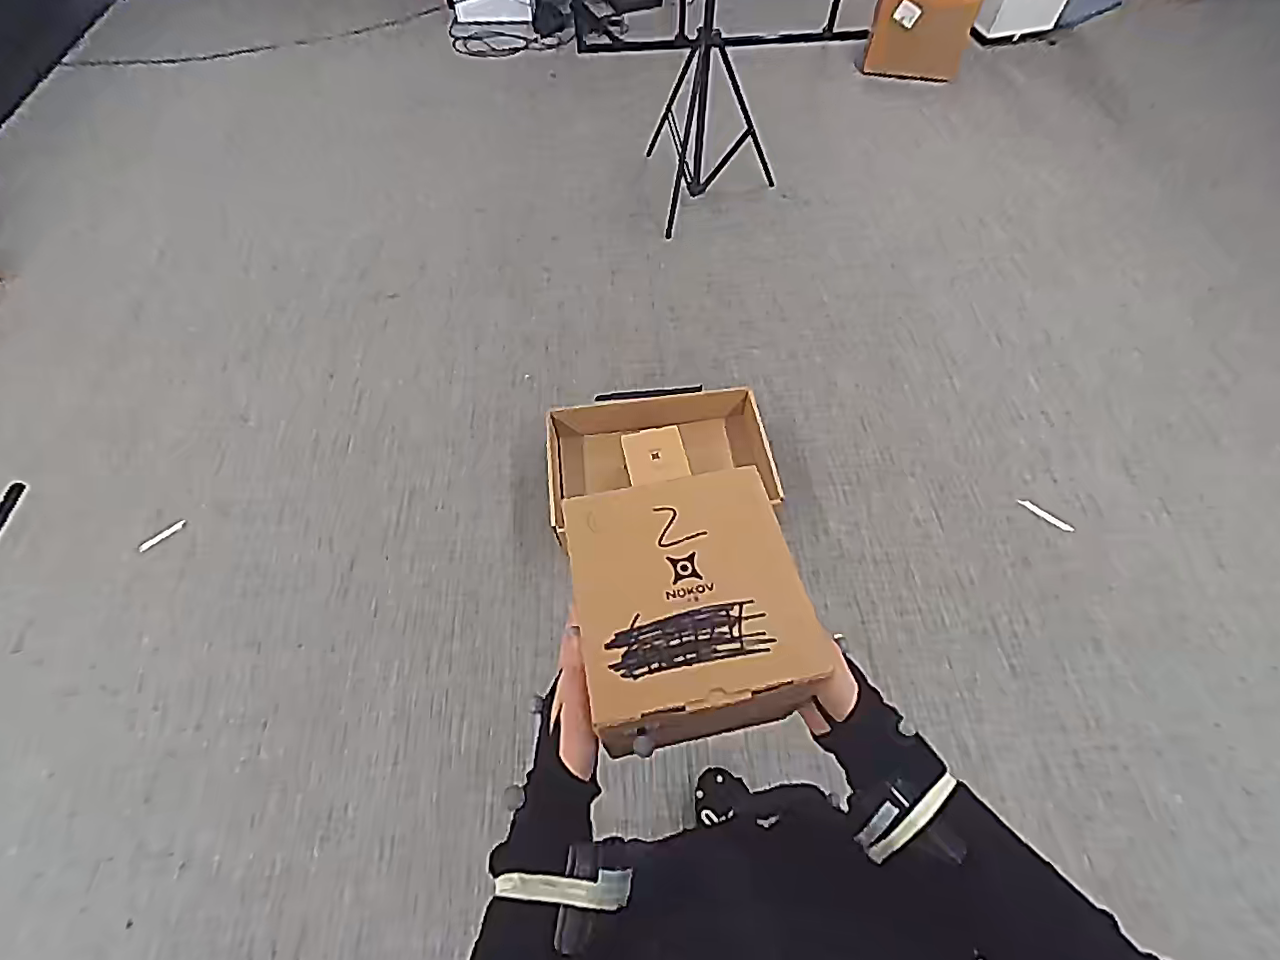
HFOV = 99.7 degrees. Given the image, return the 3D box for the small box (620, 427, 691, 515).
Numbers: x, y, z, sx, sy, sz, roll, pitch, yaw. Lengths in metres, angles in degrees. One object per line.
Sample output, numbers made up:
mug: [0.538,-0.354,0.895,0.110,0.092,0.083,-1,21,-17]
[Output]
small box: [0.041,-0.024,1.546,0.168,0.176,0.179,-12,61,-5]
